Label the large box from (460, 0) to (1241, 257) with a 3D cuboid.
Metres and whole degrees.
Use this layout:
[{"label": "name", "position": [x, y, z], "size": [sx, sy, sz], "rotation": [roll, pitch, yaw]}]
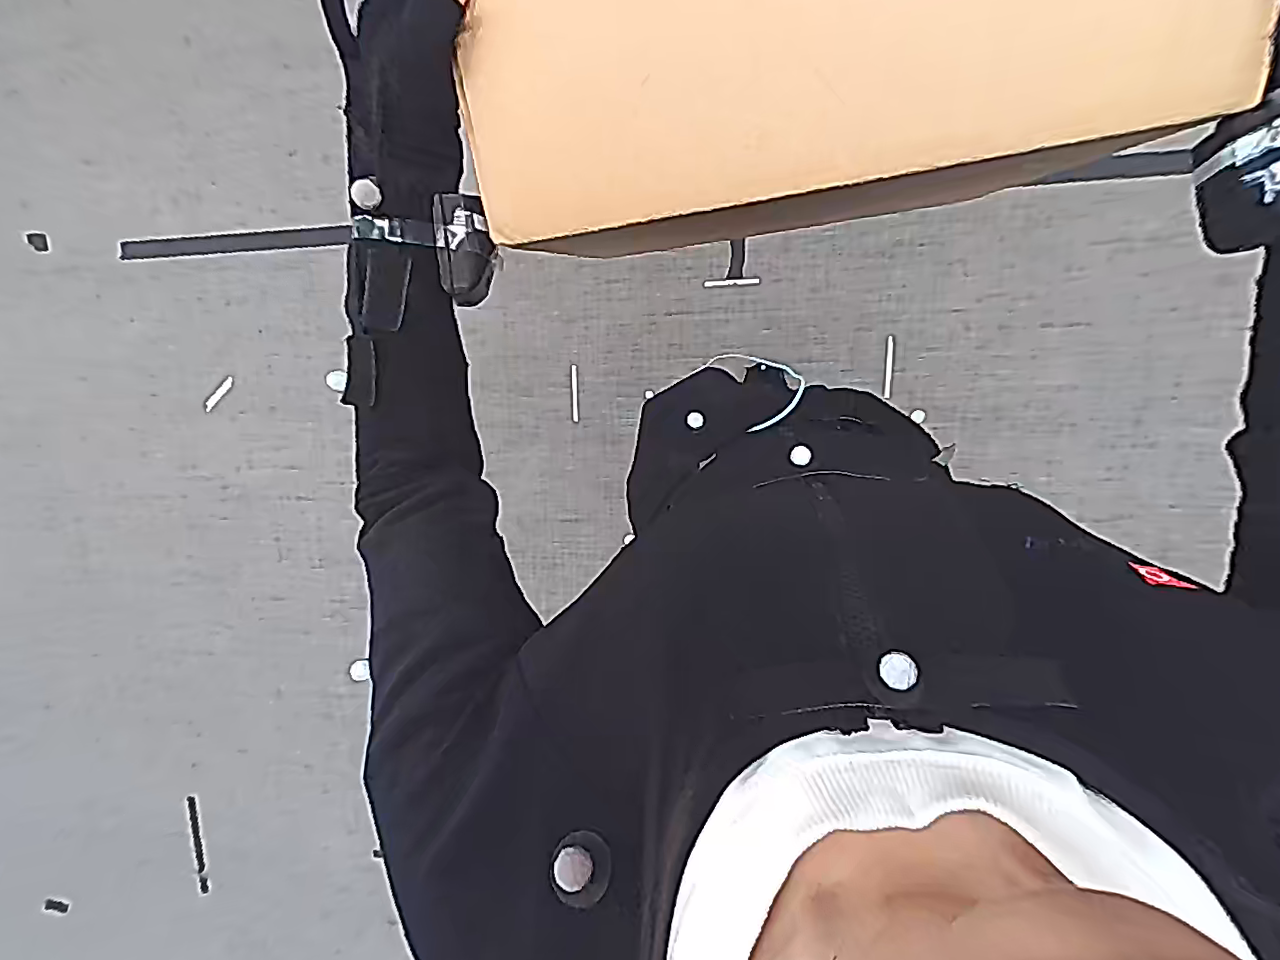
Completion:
[{"label": "large box", "position": [0.104, -0.372, 0.406], "size": [0.408, 0.320, 0.320], "rotation": [-6, 110, 10]}]
